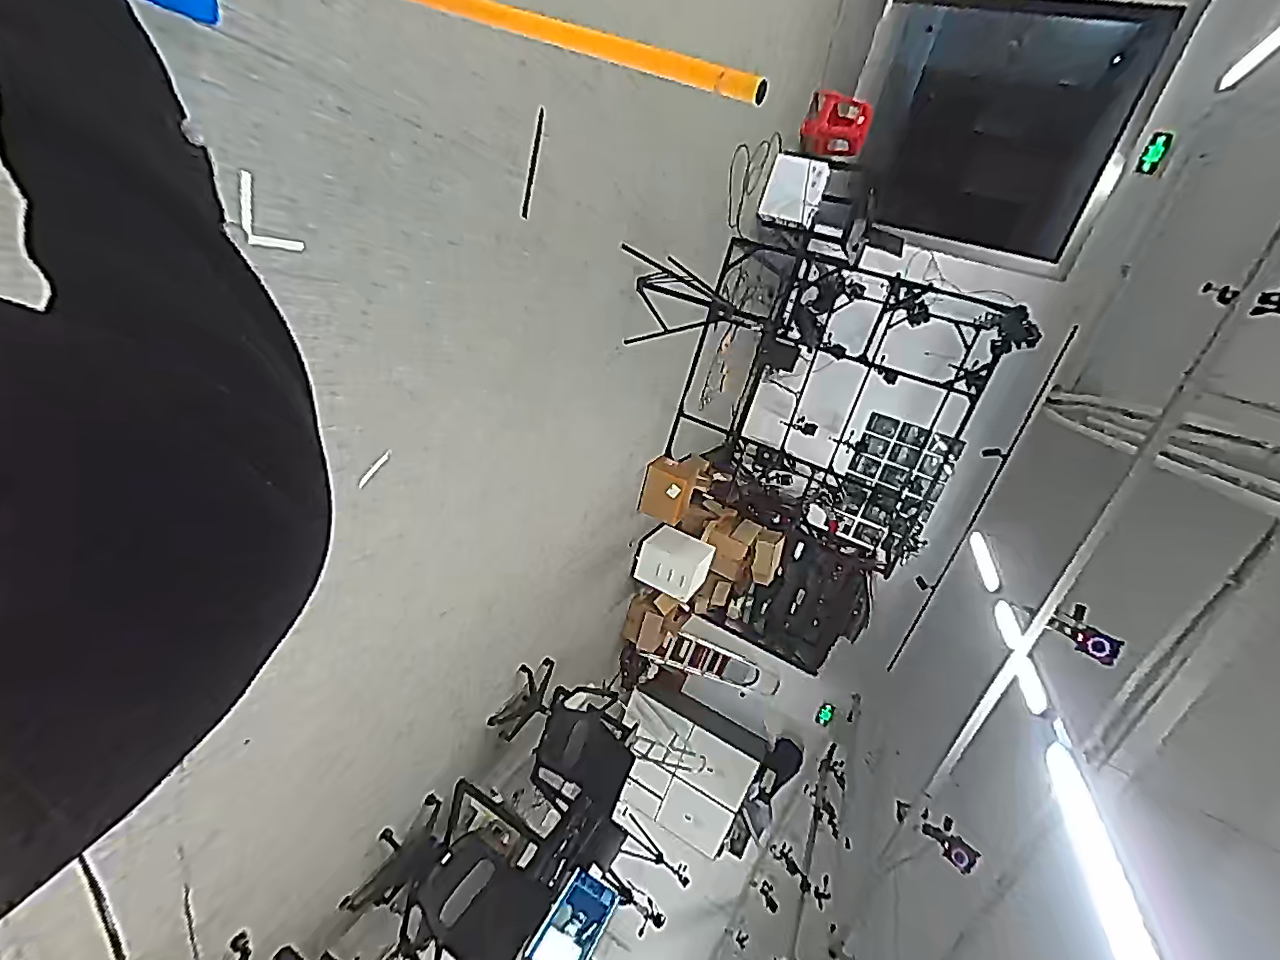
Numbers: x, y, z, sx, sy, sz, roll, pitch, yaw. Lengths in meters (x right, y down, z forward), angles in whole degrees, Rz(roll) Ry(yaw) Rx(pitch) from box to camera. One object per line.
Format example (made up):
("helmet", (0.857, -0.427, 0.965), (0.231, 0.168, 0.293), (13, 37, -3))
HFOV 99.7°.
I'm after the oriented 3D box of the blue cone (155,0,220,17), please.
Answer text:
("blue cone", (-0.724, -0.915, 0.919), (0.193, 0.380, 0.192), (-31, 139, -59))
